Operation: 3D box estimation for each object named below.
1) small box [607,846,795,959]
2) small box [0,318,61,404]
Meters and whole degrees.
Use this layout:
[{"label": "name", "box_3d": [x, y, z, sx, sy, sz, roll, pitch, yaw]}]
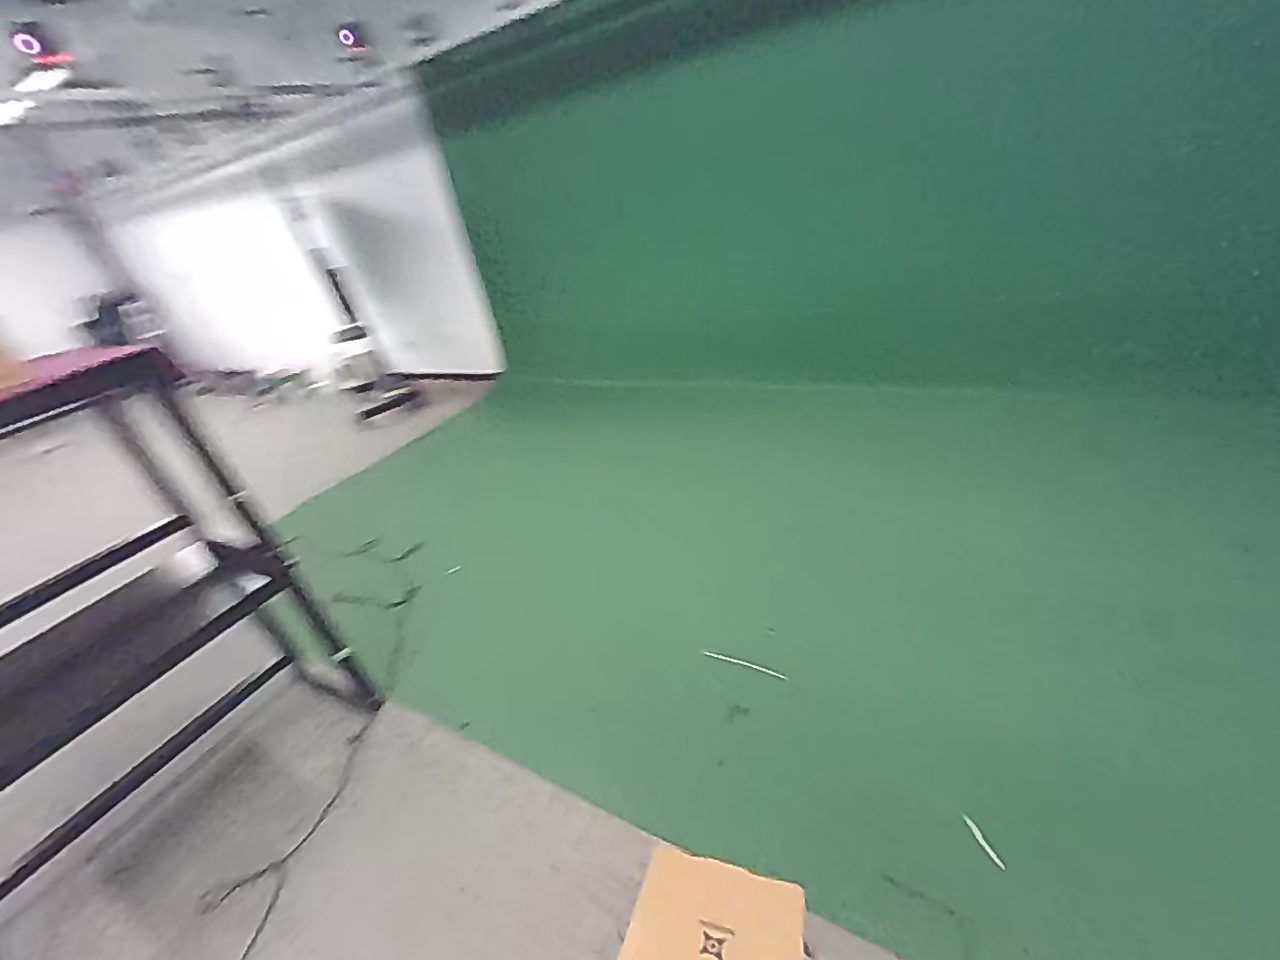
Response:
[{"label": "small box", "box_3d": [0.058, 0.519, 0.530, 0.168, 0.176, 0.179, 5, 11, 17]}, {"label": "small box", "box_3d": [-1.543, -0.269, 1.277, 0.179, 0.176, 0.168, 4, 33, 30]}]
